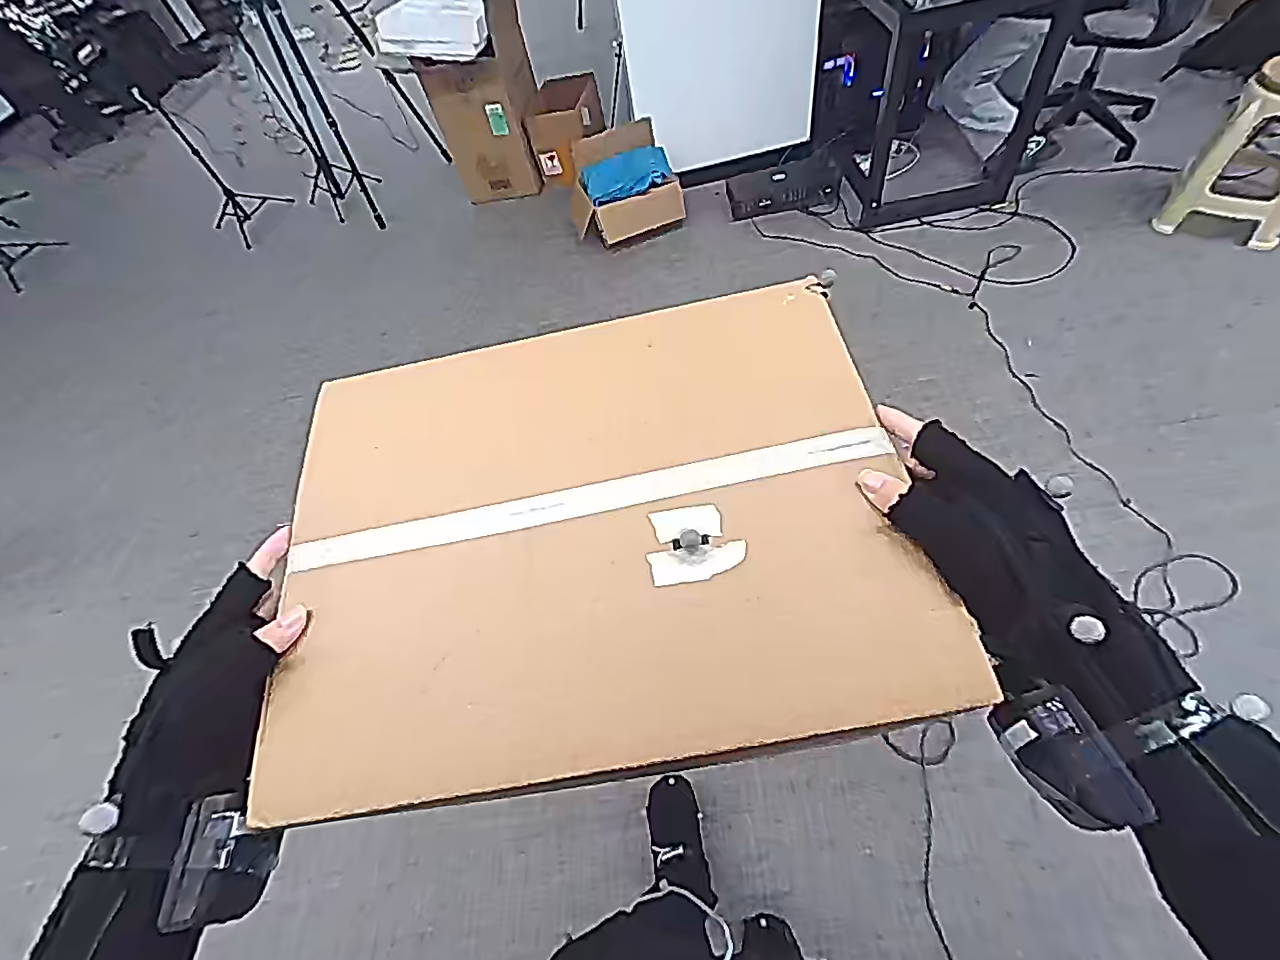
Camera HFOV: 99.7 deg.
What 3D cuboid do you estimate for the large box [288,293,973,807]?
[{"bbox_3d":[-0.014,0.087,0.504,0.408,0.320,0.320,-11,62,3],"label":"large box"}]
